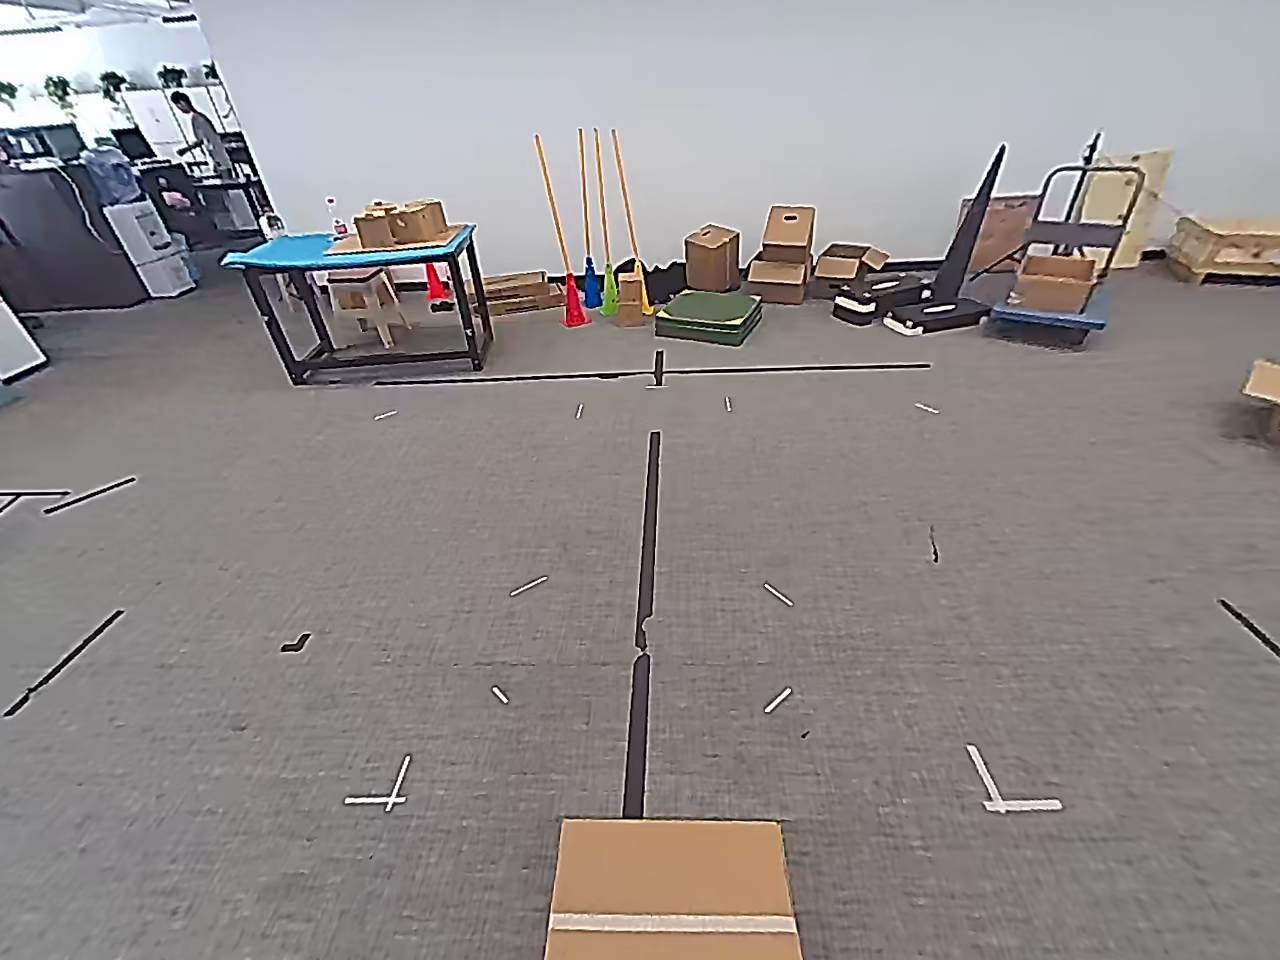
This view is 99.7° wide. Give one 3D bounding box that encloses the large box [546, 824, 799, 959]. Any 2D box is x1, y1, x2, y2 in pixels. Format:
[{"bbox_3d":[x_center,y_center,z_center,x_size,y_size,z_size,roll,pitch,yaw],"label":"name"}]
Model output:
[{"bbox_3d":[0.058,0.852,0.969,0.408,0.320,0.320,-1,35,3],"label":"large box"}]
